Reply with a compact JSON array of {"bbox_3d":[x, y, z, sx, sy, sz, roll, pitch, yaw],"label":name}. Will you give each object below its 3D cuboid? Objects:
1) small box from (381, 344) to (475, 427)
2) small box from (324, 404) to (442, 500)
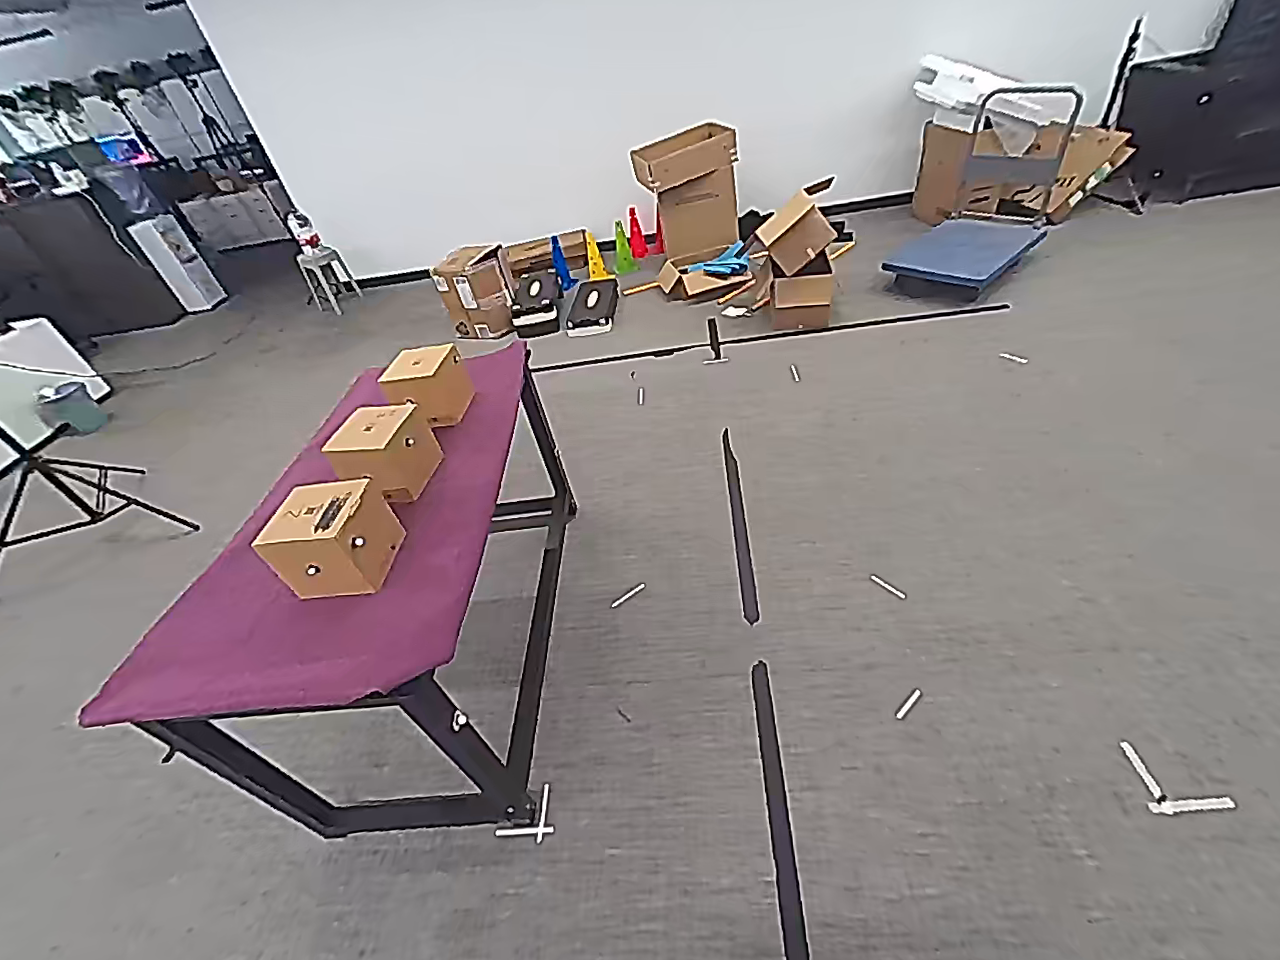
[{"bbox_3d":[-0.593,-0.261,1.540,0.168,0.176,0.179,-5,41,10],"label":"small box"},{"bbox_3d":[-0.611,-0.063,1.316,0.168,0.176,0.179,-1,41,12],"label":"small box"}]
